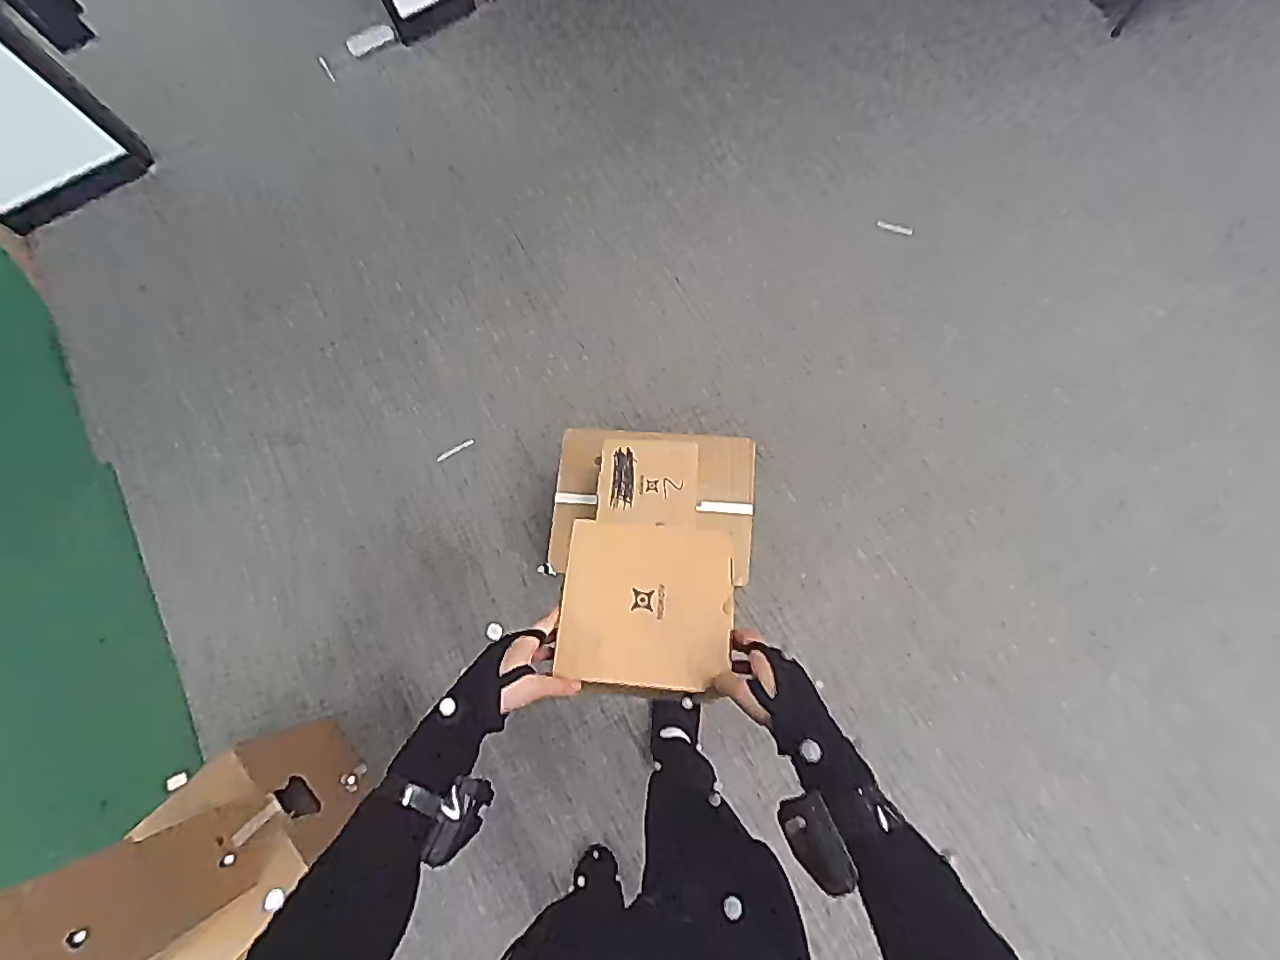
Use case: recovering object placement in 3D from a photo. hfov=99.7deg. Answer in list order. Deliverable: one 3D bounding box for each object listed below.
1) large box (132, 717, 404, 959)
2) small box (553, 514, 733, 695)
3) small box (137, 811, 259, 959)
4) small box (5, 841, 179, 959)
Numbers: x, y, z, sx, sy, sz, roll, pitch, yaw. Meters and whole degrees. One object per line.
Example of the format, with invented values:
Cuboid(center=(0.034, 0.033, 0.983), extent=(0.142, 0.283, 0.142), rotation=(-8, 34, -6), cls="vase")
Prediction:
Cuboid(center=(-0.801, 0.784, 1.136), extent=(0.408, 0.320, 0.320), rotation=(-43, 76, -6), cls="large box")
Cuboid(center=(0.008, 0.151, 0.625), extent=(0.179, 0.176, 0.168), rotation=(4, 65, 2), cls="small box")
Cuboid(center=(-0.798, 0.704, 0.903), extent=(0.179, 0.176, 0.168), rotation=(-40, 78, -7), cls="small box")
Cuboid(center=(-0.804, 0.654, 0.747), extent=(0.168, 0.176, 0.179), rotation=(-38, 77, -6), cls="small box")
